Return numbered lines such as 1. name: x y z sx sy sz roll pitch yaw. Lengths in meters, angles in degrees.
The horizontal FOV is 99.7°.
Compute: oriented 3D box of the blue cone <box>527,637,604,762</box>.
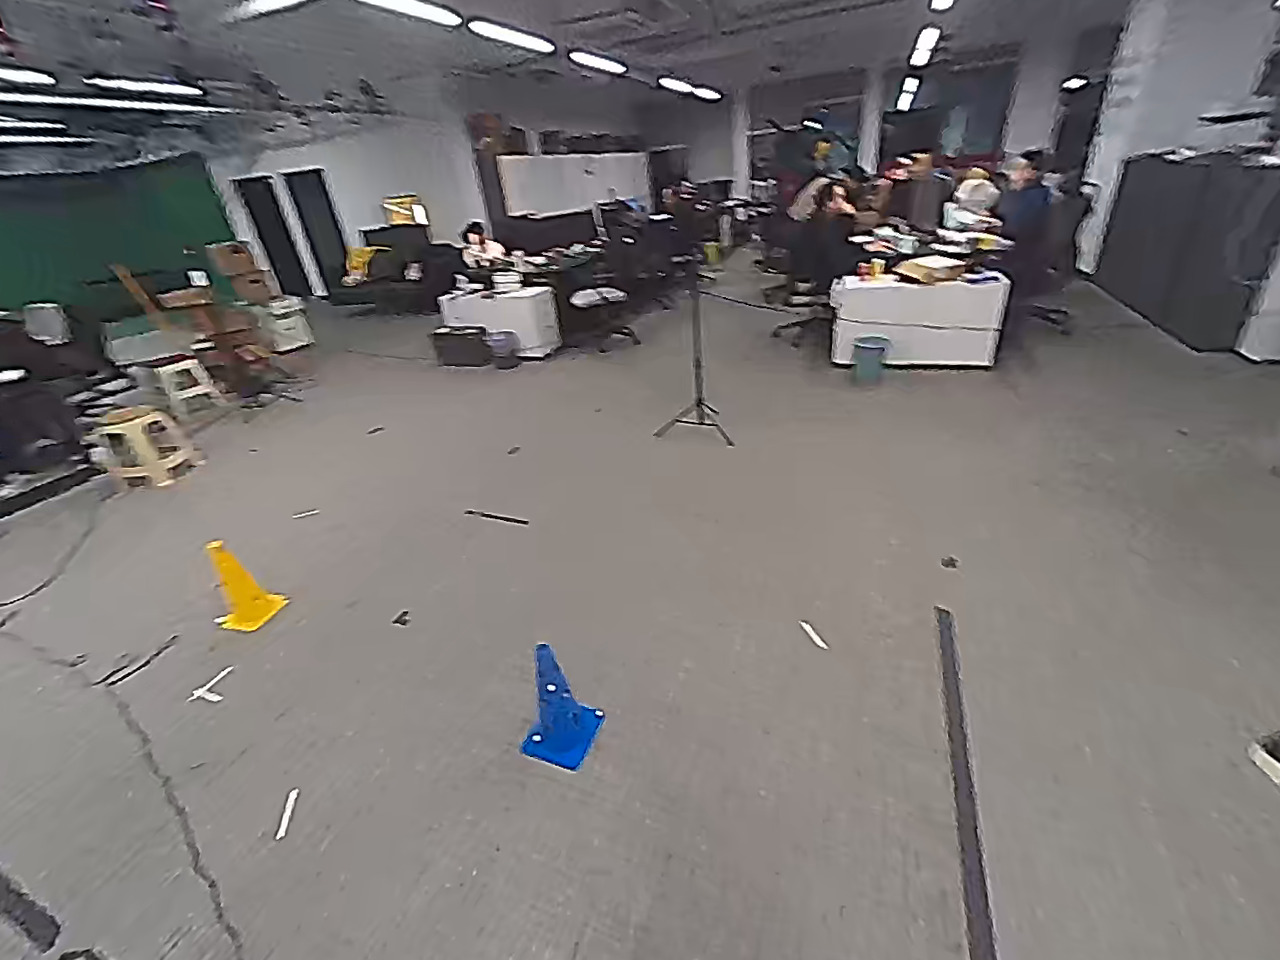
1. blue cone: -0.239 0.607 1.549 0.193 0.380 0.192 7 31 23
